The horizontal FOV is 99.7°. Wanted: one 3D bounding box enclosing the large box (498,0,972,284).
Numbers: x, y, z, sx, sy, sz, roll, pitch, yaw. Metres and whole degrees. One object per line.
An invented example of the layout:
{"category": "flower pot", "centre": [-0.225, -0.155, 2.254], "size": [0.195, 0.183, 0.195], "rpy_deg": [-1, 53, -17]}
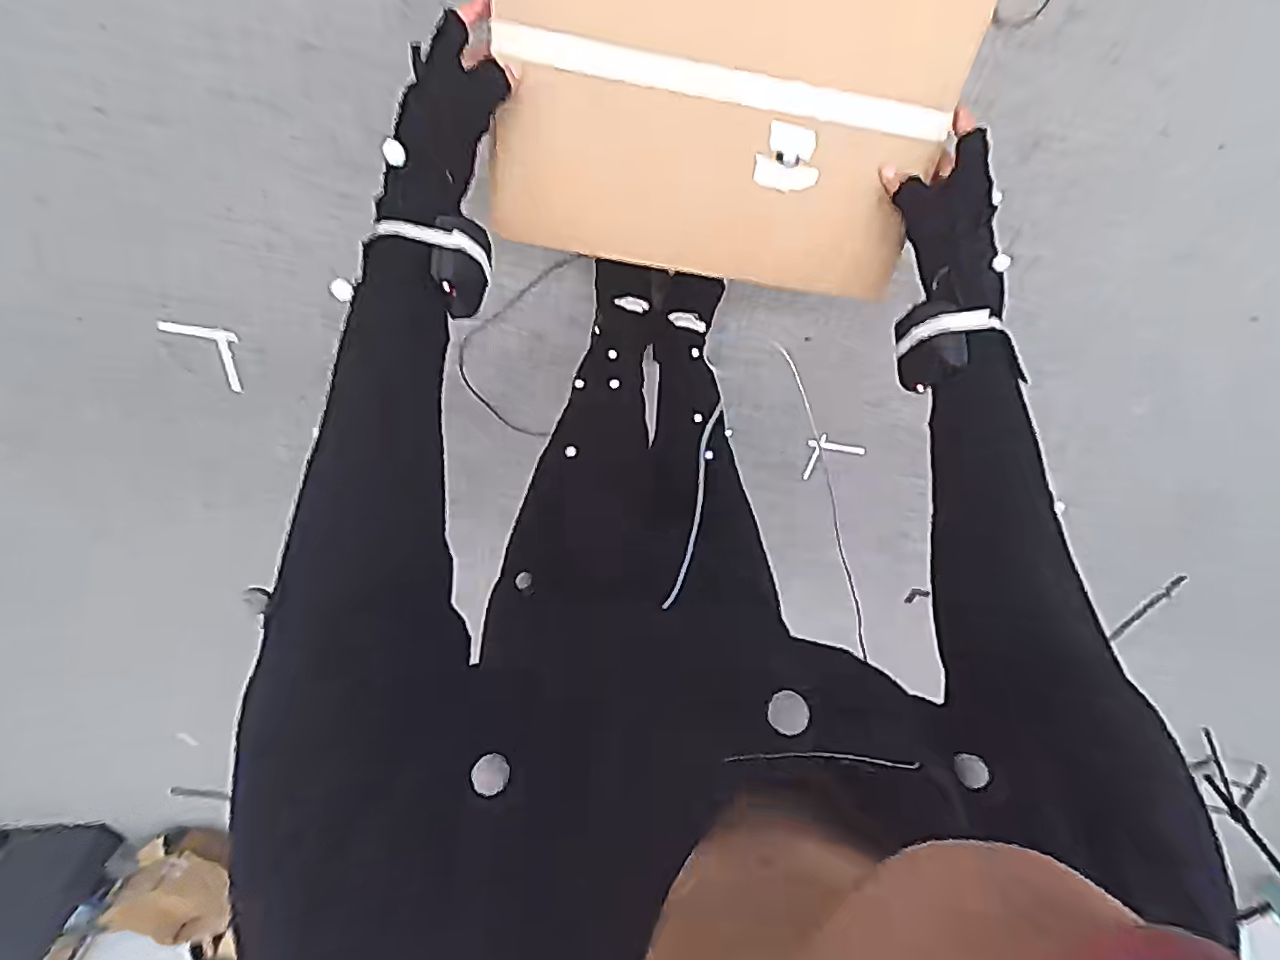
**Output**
{"category": "large box", "centre": [0.070, -0.439, 0.612], "size": [0.408, 0.320, 0.320], "rpy_deg": [7, 123, -6]}
